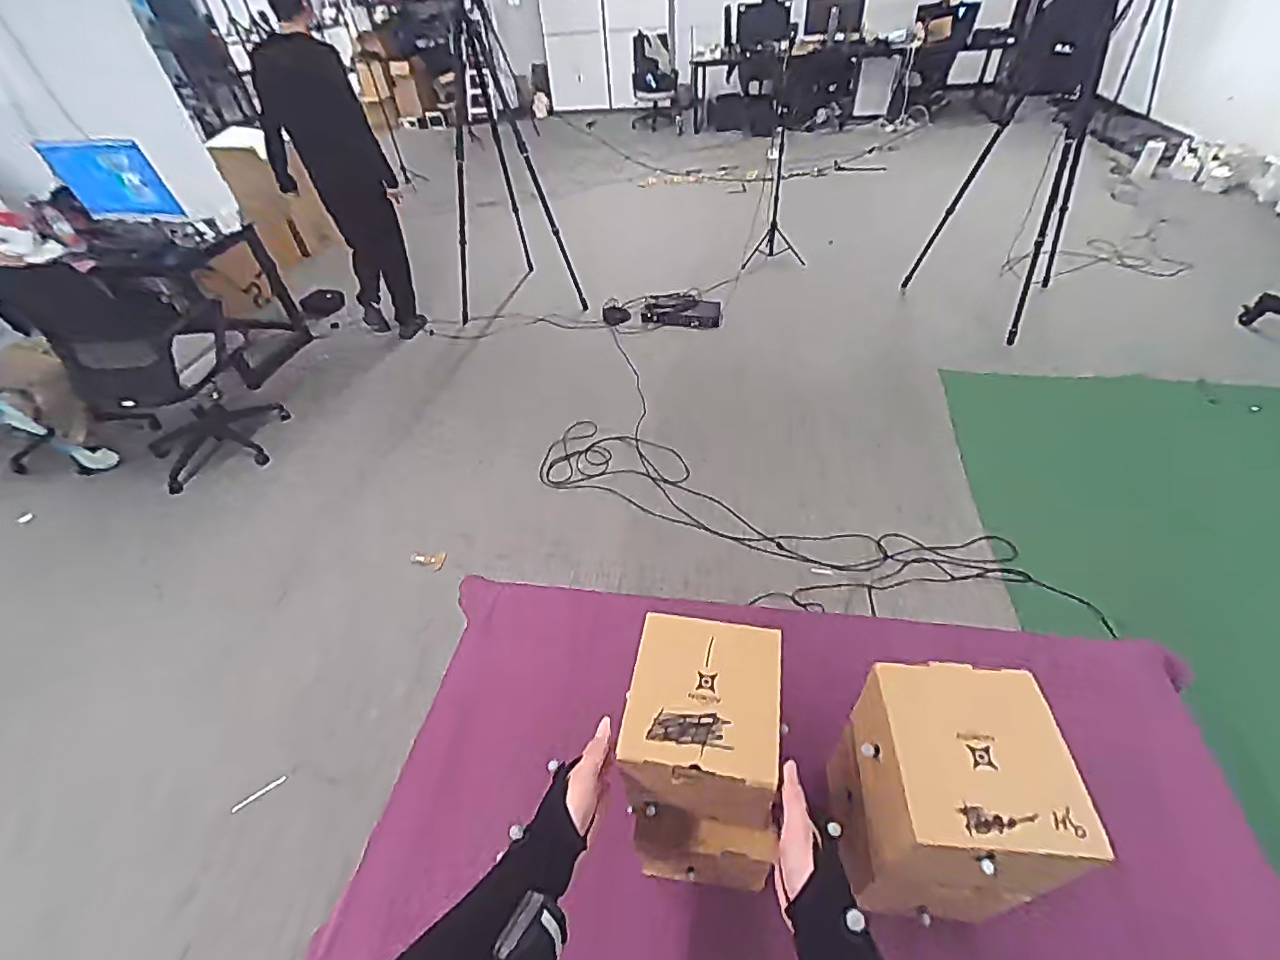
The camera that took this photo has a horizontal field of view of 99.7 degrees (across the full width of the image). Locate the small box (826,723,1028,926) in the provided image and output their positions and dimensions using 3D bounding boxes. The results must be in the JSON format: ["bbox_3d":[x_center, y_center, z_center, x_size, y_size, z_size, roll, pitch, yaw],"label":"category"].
[{"bbox_3d":[0.345,0.441,0.697,0.168,0.176,0.179,1,44,7],"label":"small box"}]

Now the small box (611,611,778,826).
[{"bbox_3d":[0.072,0.286,0.649,0.168,0.176,0.179,6,44,11],"label":"small box"}]

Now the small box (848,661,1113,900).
[{"bbox_3d":[0.336,0.321,0.584,0.168,0.176,0.179,1,43,7],"label":"small box"}]

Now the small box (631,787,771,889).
[{"bbox_3d":[0.084,0.427,0.739,0.168,0.176,0.179,3,45,8],"label":"small box"}]
